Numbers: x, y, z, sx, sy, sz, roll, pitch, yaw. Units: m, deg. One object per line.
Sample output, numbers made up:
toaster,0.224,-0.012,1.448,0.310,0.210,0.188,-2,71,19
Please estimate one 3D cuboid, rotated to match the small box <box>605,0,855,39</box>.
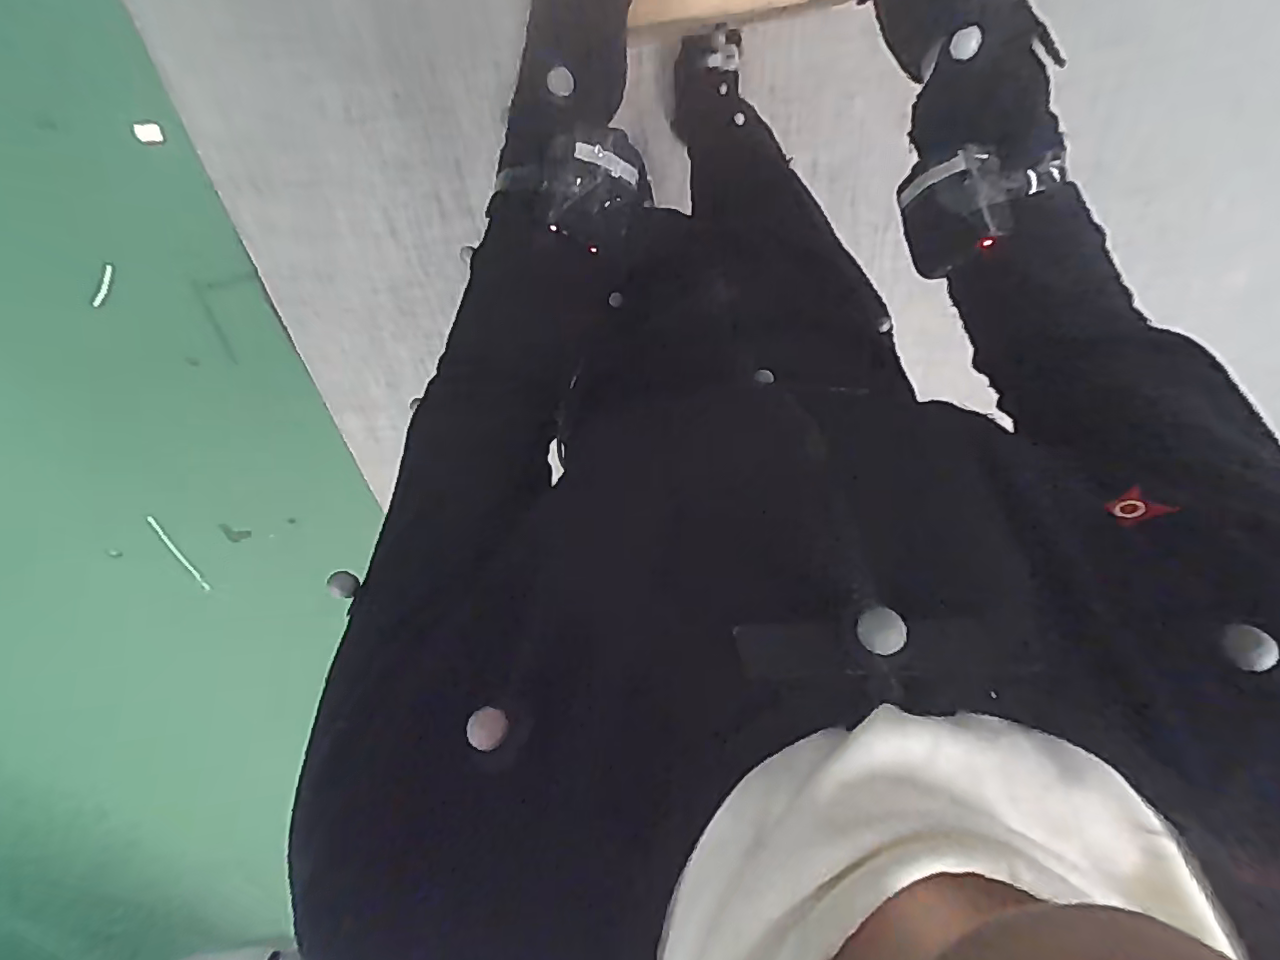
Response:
small box,0.057,-0.426,0.376,0.179,0.176,0.168,-5,124,1
